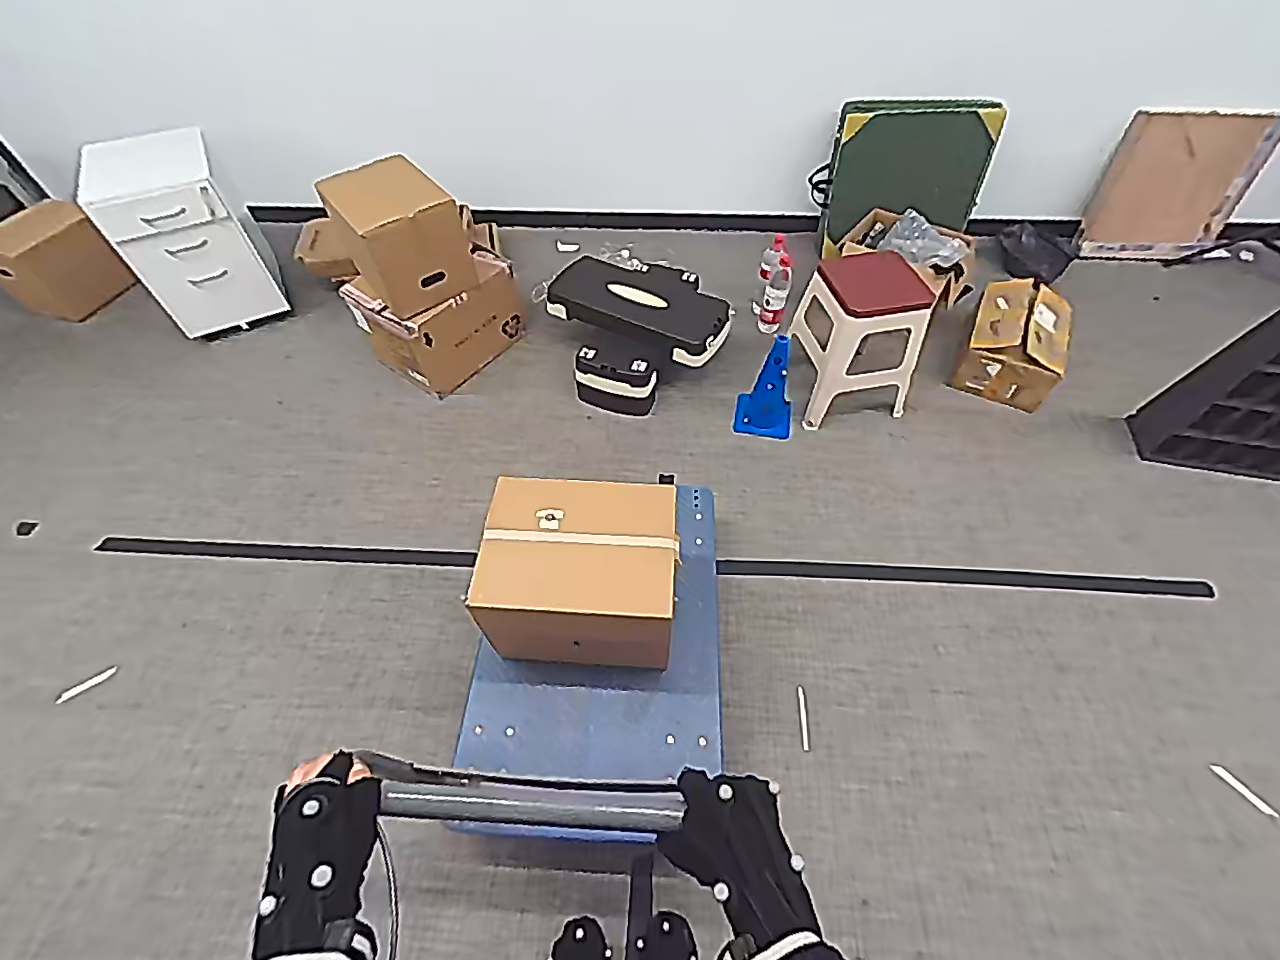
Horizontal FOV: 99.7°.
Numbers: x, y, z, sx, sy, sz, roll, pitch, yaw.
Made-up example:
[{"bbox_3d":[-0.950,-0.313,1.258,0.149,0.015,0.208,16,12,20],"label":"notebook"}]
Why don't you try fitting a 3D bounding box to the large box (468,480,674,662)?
[{"bbox_3d":[-0.125,0.218,1.251,0.408,0.320,0.320,3,54,3],"label":"large box"}]
